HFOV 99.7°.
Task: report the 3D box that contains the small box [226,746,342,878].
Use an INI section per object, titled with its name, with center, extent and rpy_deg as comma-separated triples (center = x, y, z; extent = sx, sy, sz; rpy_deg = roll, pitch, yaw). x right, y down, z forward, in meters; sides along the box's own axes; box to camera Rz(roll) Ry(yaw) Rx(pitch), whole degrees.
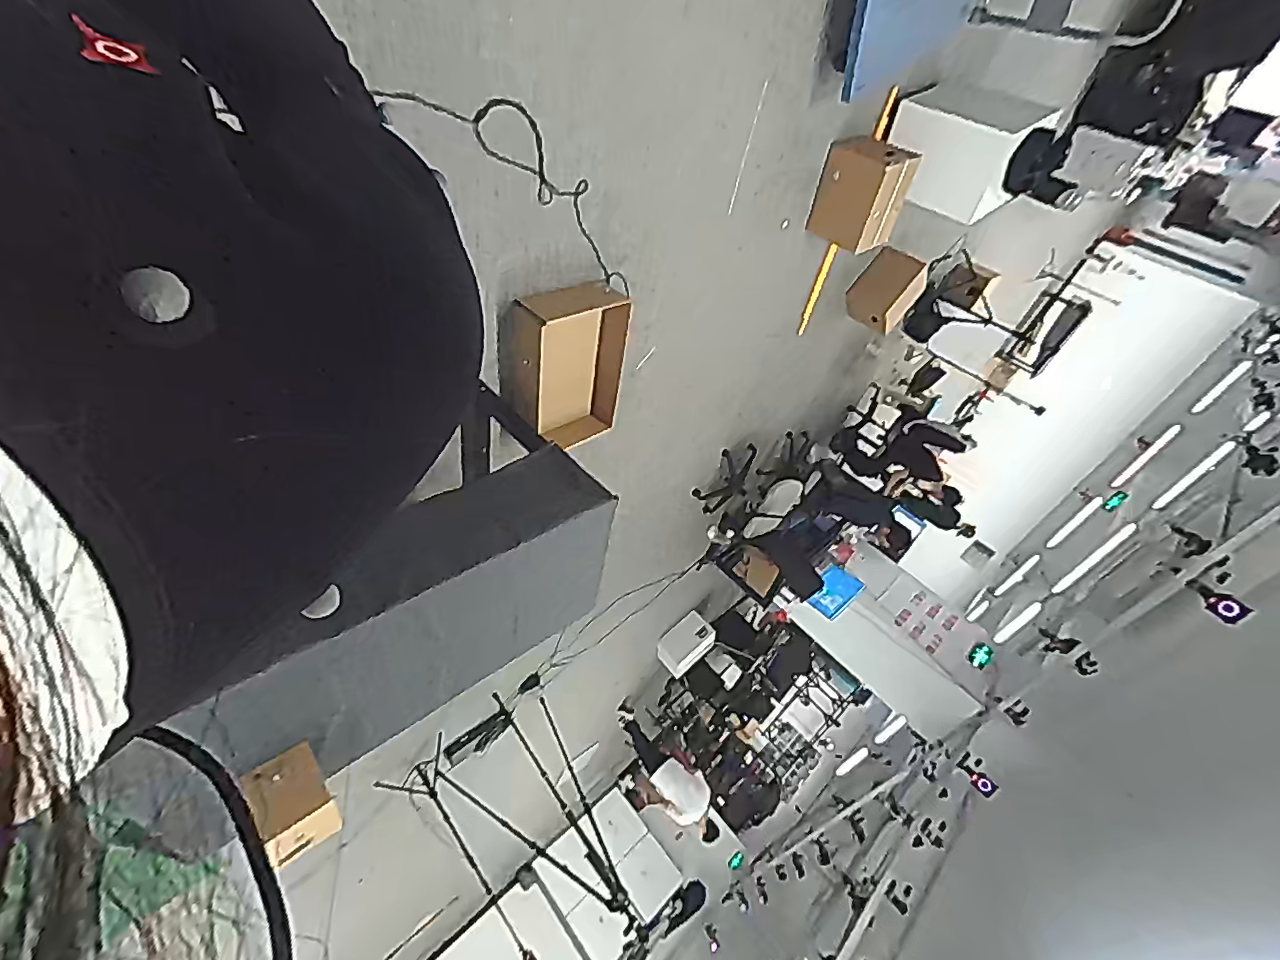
[small box]
center = -0.808, 0.749, 1.233
extent = 0.168, 0.176, 0.179
rpy_deg = -24, 144, -40
